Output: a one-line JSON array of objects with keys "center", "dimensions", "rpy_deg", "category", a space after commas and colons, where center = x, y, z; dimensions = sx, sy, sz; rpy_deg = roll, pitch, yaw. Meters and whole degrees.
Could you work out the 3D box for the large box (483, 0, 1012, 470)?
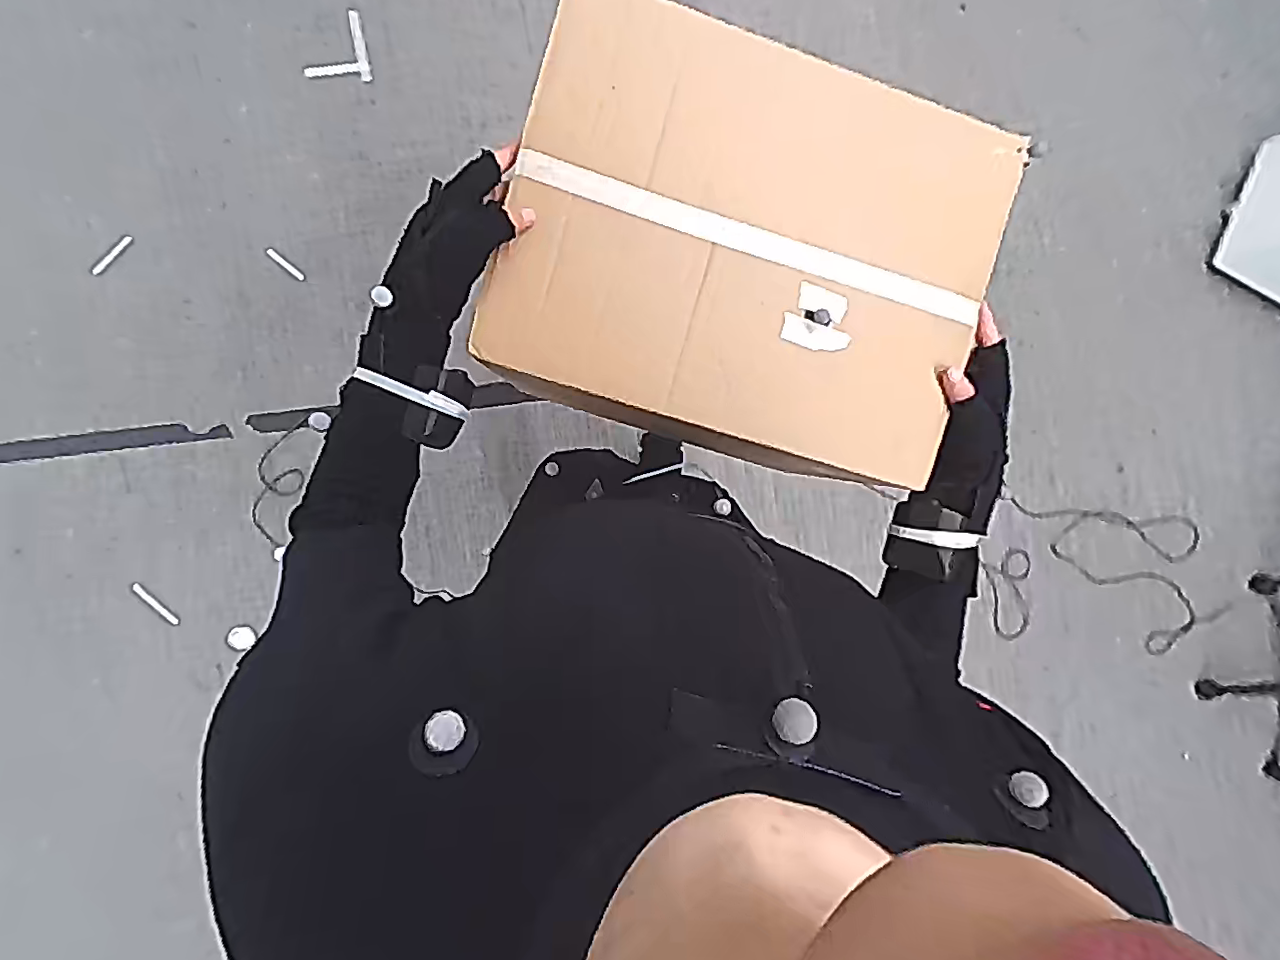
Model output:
[{"center": [0.082, -0.215, 0.605], "dimensions": [0.408, 0.320, 0.320], "rpy_deg": [16, 93, -7], "category": "large box"}]
